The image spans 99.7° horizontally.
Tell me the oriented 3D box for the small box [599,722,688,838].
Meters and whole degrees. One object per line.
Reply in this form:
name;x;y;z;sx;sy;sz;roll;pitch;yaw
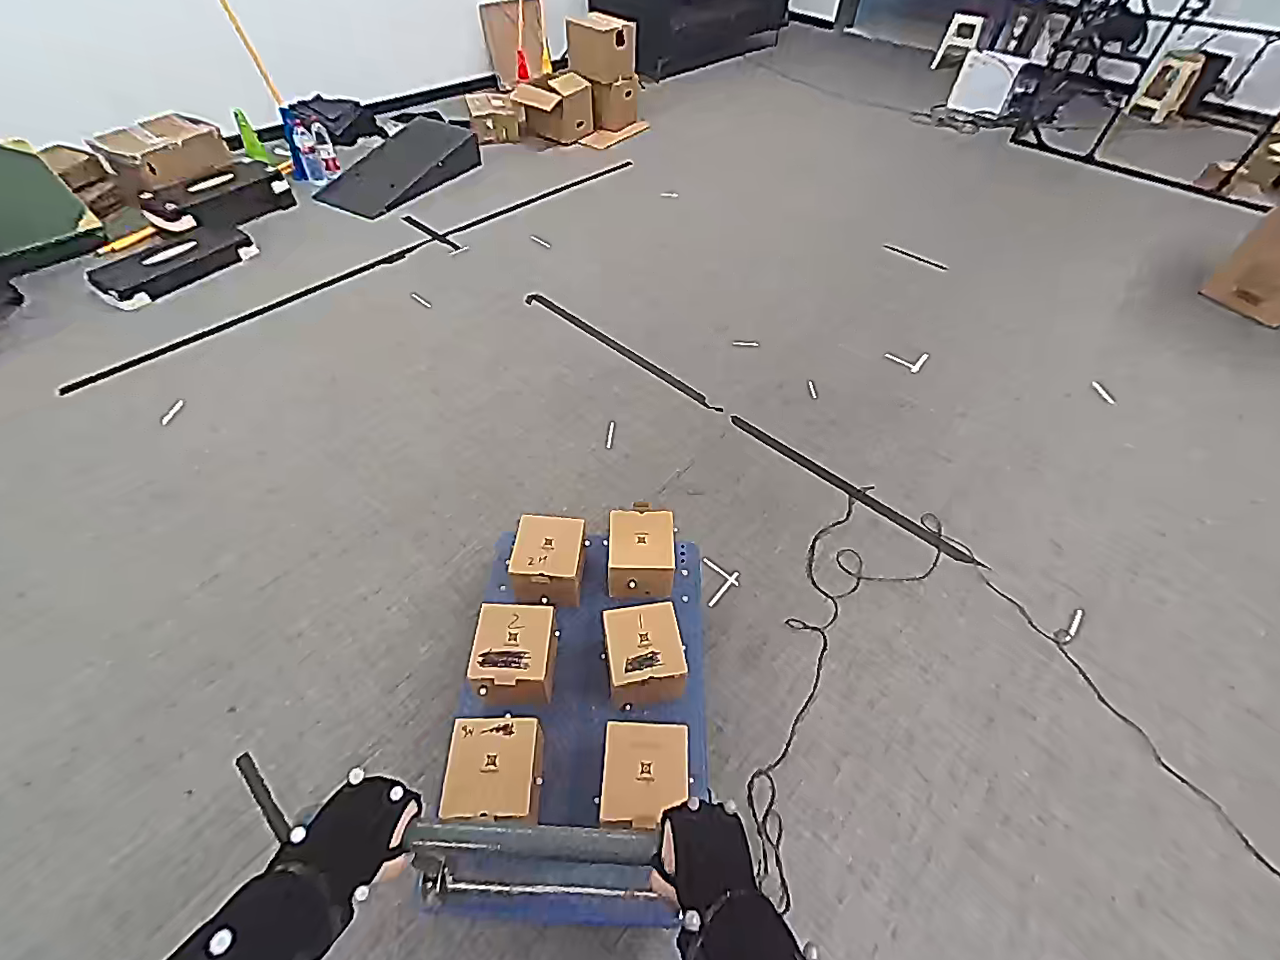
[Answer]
small box;0.007;0.615;1.103;0.168;0.176;0.179;4;50;0

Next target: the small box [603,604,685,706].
small box;0.004;0.416;1.267;0.168;0.176;0.179;-5;50;-8

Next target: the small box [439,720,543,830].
small box;-0.290;0.600;1.096;0.168;0.176;0.179;1;51;-3

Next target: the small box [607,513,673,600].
small box;-0.001;0.206;1.441;0.168;0.176;0.179;1;50;-2

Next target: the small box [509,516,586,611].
small box;-0.234;0.219;1.413;0.168;0.176;0.179;5;51;1
